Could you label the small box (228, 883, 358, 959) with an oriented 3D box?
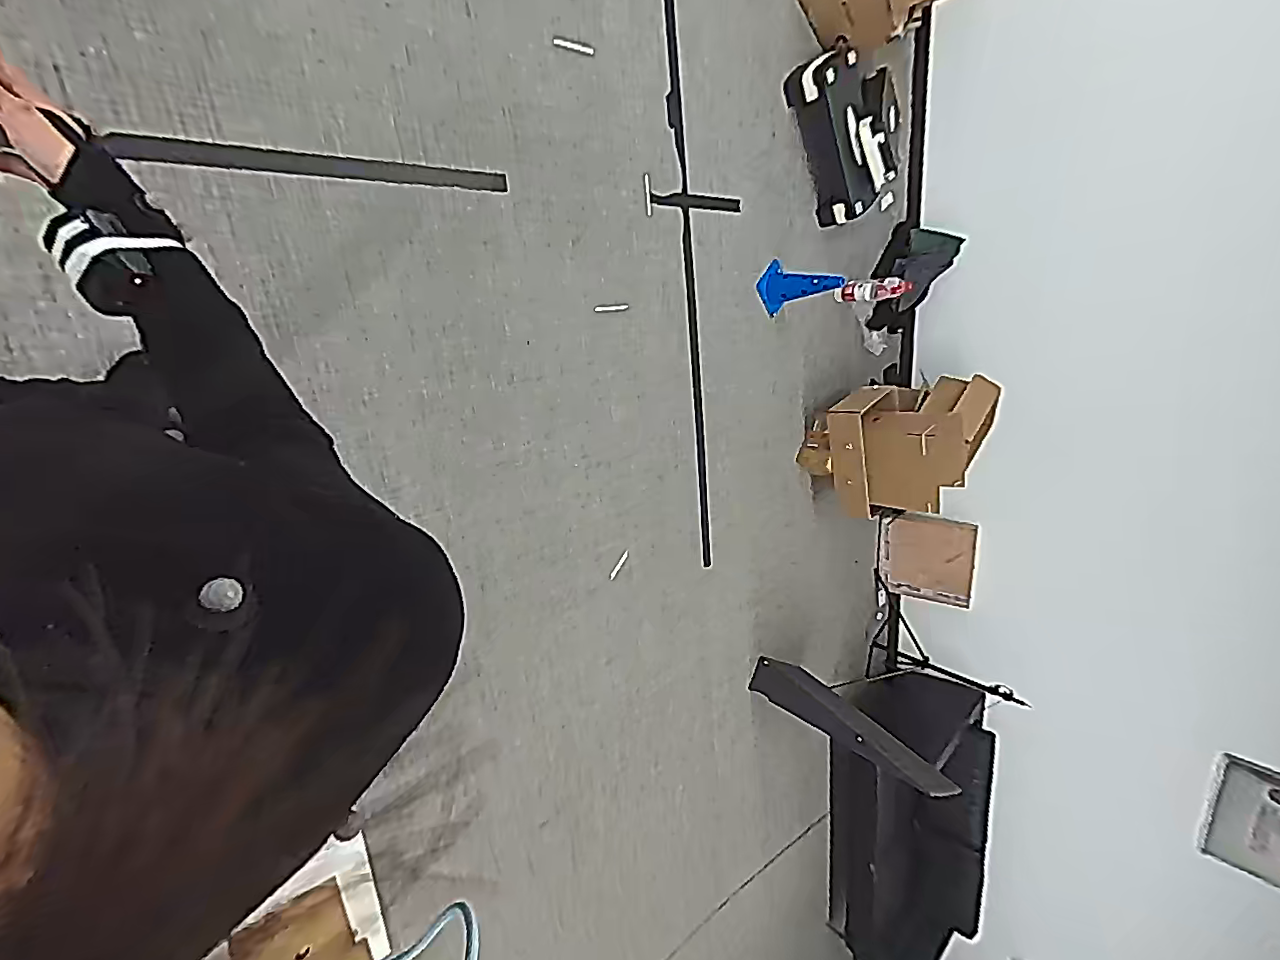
[{"bbox_3d":[-0.613,0.889,0.972,0.179,0.176,0.168,-14,108,-38],"label":"small box"}]
